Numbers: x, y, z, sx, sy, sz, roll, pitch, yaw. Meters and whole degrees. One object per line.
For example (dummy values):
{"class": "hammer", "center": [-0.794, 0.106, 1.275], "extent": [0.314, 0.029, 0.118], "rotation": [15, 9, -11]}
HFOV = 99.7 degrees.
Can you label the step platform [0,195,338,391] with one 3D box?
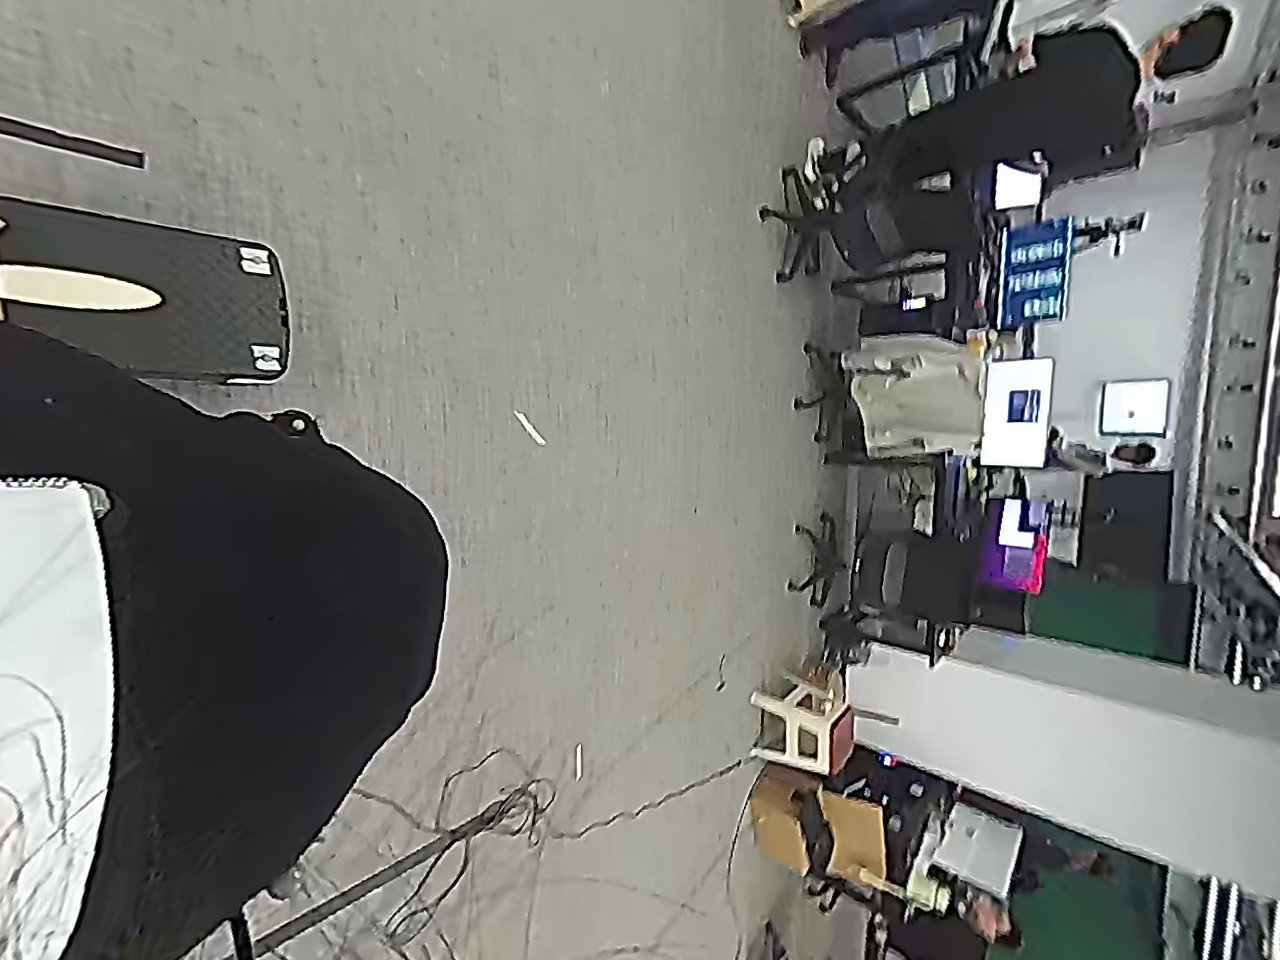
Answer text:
{"class": "step platform", "center": [-0.874, -0.287, 0.838], "extent": [0.684, 0.204, 0.286], "rotation": [-9, 100, -48]}
